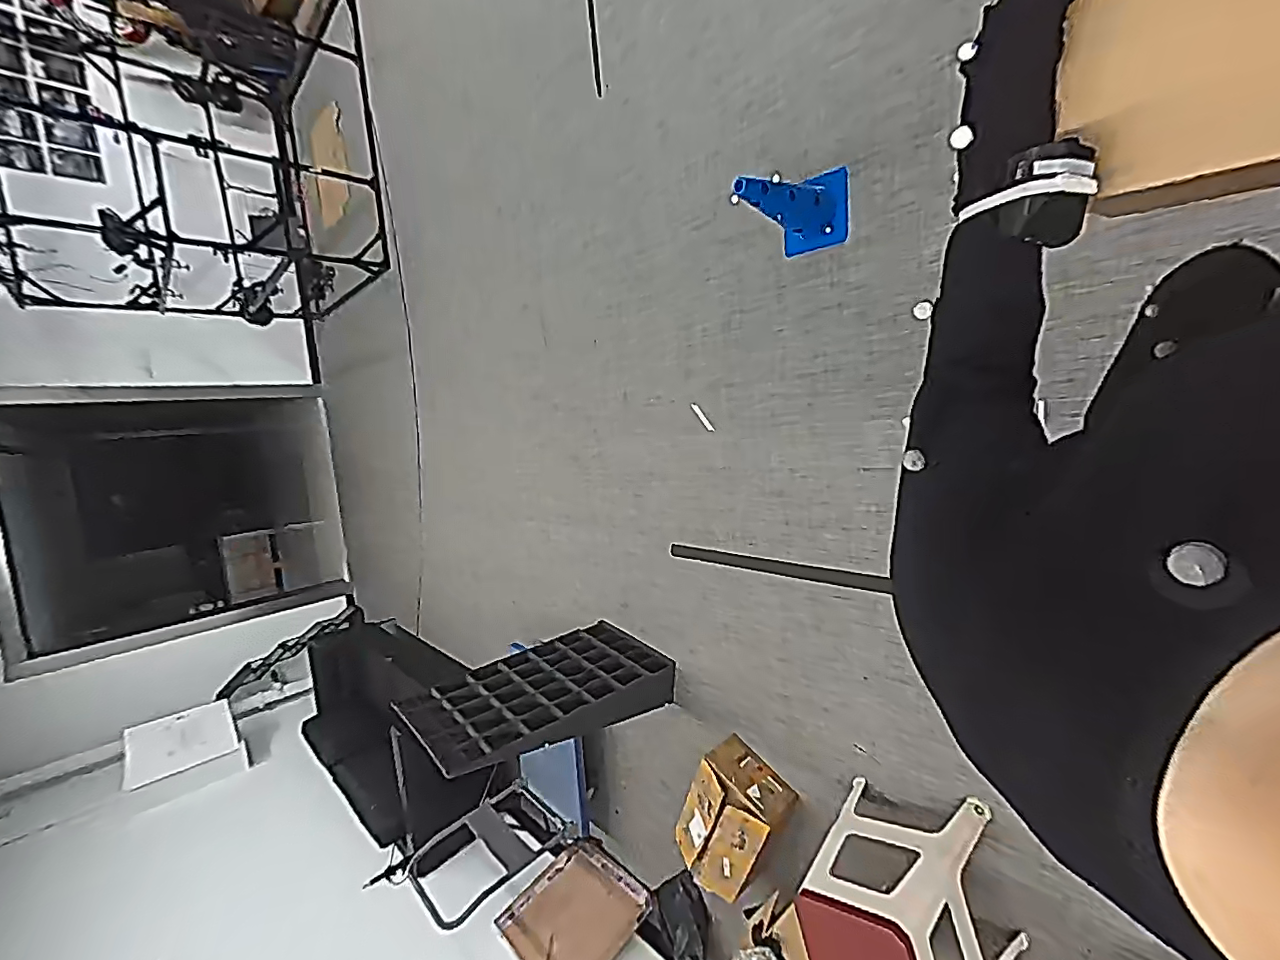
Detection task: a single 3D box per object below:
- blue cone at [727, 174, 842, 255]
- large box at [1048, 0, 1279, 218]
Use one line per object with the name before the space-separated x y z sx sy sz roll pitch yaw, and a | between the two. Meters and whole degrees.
blue cone | 0.373 -0.744 1.453 0.192 0.380 0.193 7 103 48
large box | 0.545 -0.395 0.354 0.408 0.320 0.320 6 111 46
